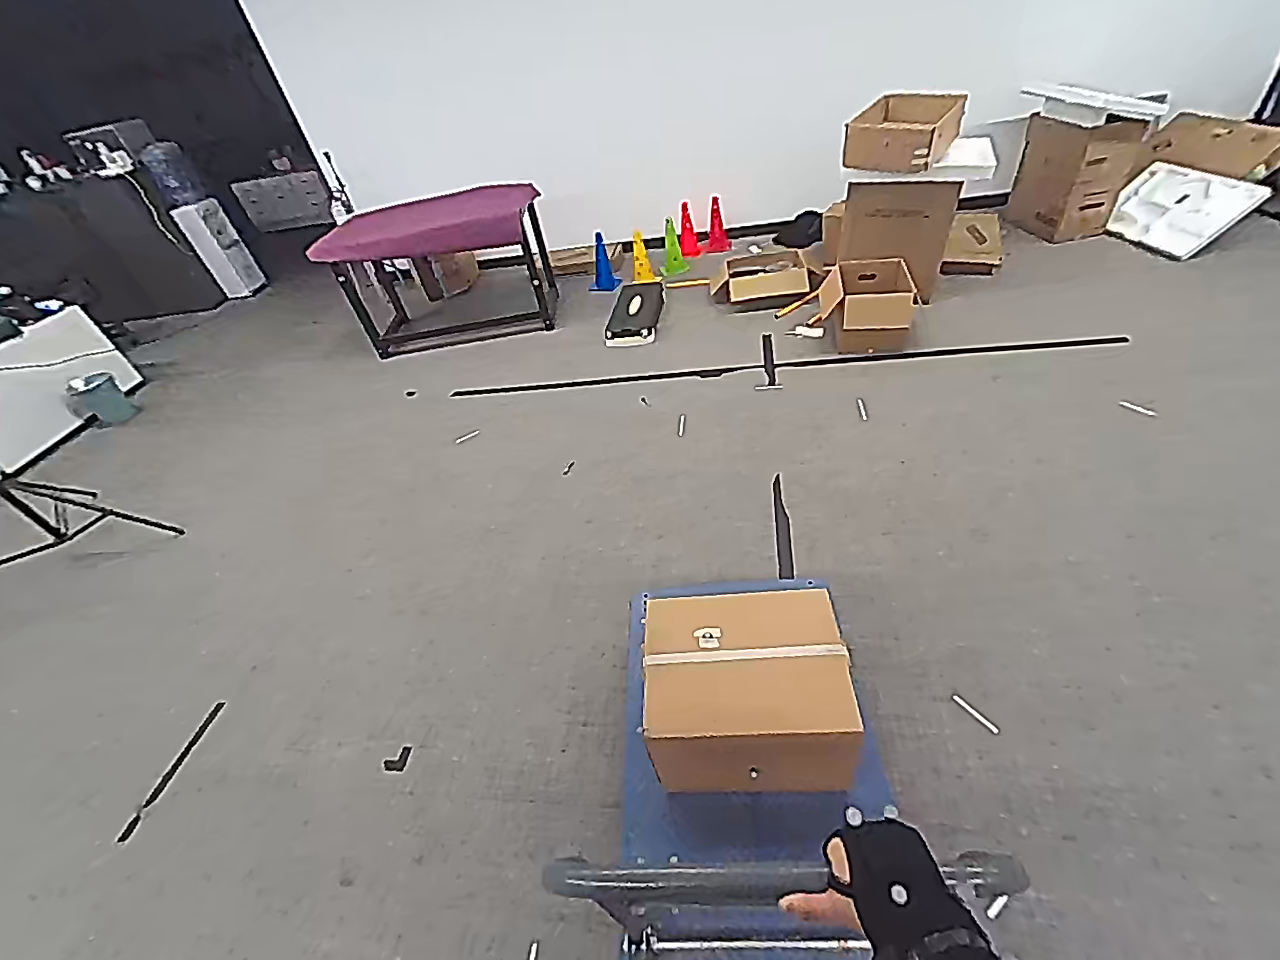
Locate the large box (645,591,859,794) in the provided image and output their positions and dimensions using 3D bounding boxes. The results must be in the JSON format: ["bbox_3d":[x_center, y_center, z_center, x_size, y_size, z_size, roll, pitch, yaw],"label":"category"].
[{"bbox_3d":[0.236,0.484,1.217,0.408,0.320,0.320,-7,41,8],"label":"large box"}]
